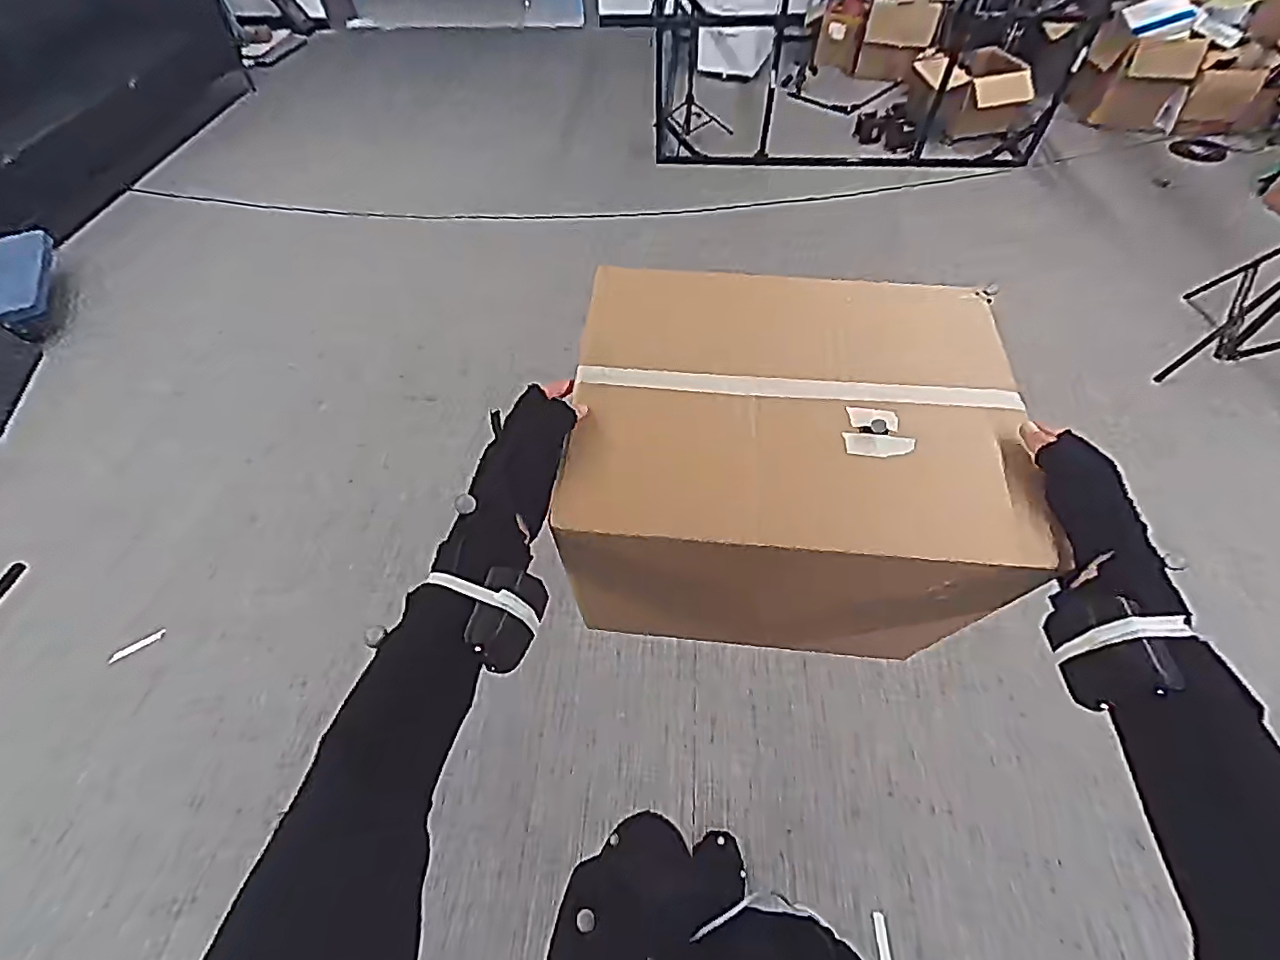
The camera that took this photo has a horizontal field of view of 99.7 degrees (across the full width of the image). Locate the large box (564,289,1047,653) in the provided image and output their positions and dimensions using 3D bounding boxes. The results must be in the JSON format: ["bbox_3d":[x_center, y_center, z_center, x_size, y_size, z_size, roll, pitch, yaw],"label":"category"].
[{"bbox_3d":[0.143,0.004,0.645,0.408,0.320,0.320,4,60,3],"label":"large box"}]
